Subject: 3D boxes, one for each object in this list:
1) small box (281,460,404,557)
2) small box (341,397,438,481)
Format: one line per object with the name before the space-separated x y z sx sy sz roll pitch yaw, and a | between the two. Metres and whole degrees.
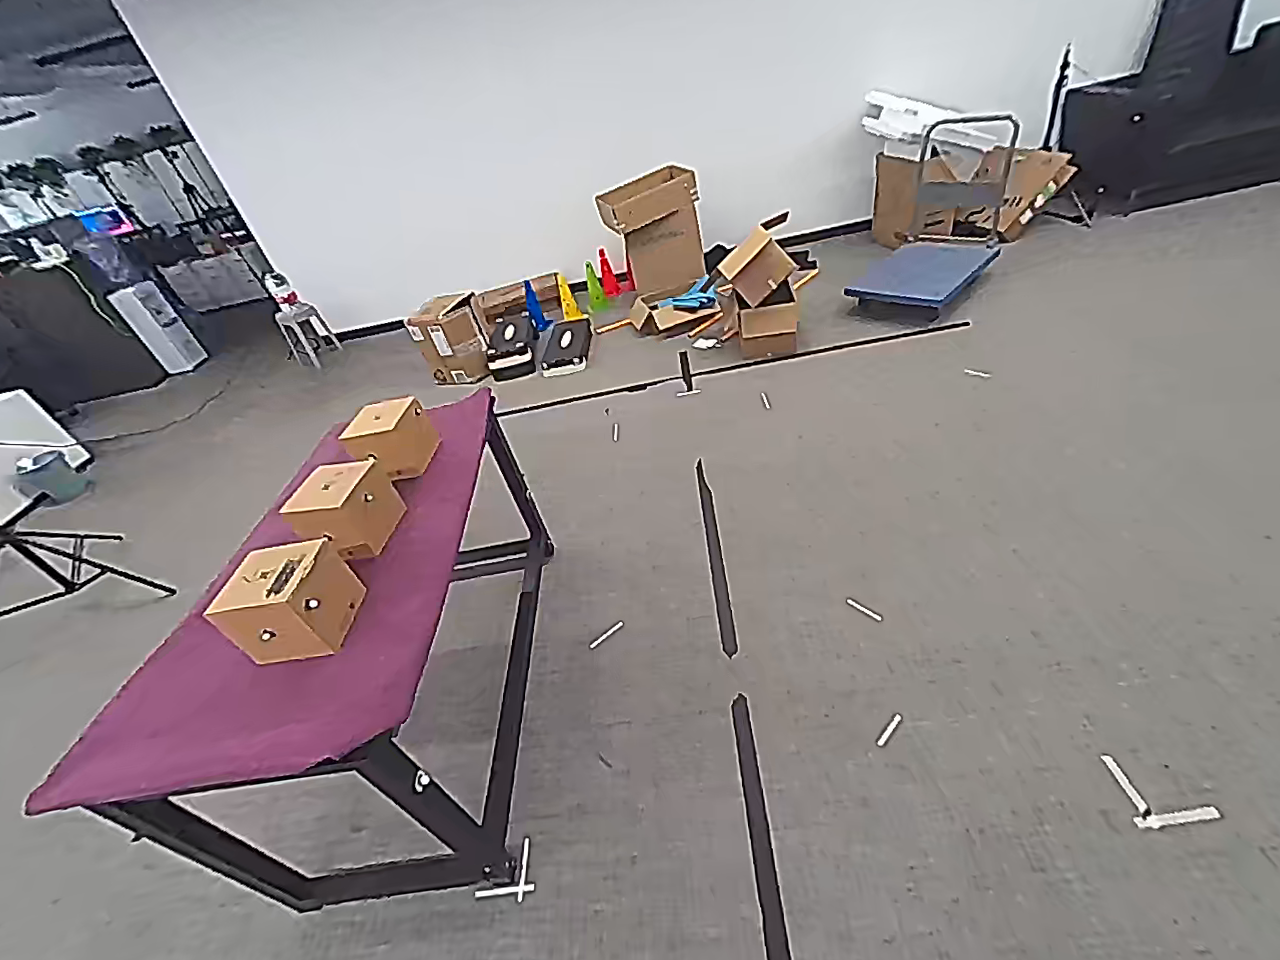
small box | -0.712 0.076 1.319 0.168 0.176 0.179 -5 38 11
small box | -0.708 -0.110 1.554 0.168 0.176 0.179 -9 38 9
